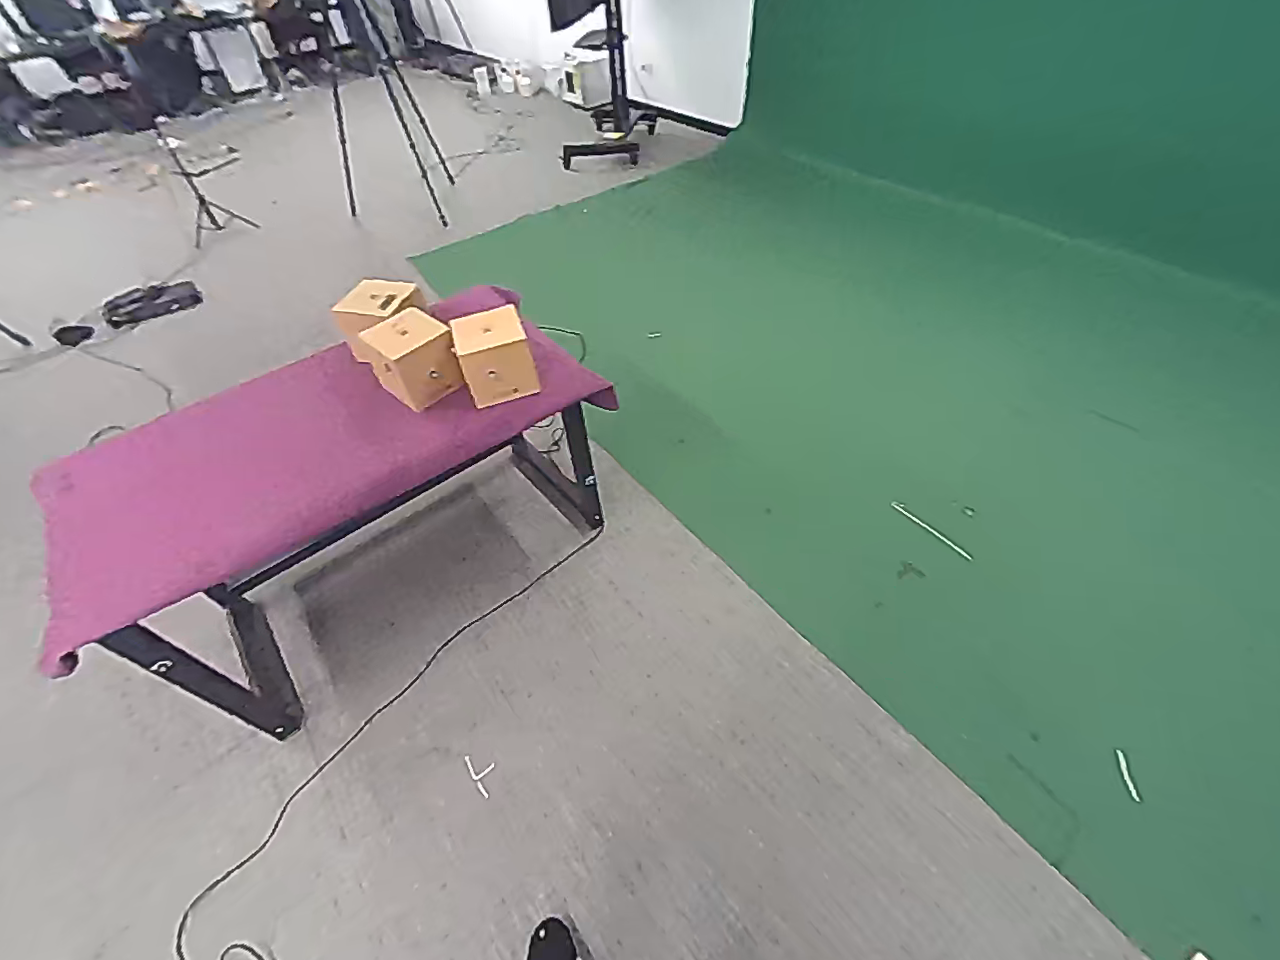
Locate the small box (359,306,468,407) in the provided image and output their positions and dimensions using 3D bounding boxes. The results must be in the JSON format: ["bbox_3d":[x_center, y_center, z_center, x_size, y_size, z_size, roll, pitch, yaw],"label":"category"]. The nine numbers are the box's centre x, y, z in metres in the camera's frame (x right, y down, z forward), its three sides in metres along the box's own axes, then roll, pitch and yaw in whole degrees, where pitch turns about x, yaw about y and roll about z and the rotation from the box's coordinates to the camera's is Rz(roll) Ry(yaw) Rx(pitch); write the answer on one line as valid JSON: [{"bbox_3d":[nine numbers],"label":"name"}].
[{"bbox_3d":[-0.573,-0.313,1.391,0.179,0.176,0.168,33,58,28],"label":"small box"}]

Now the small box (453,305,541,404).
[{"bbox_3d":[-0.361,-0.312,1.376,0.168,0.176,0.179,-18,48,-9],"label":"small box"}]
